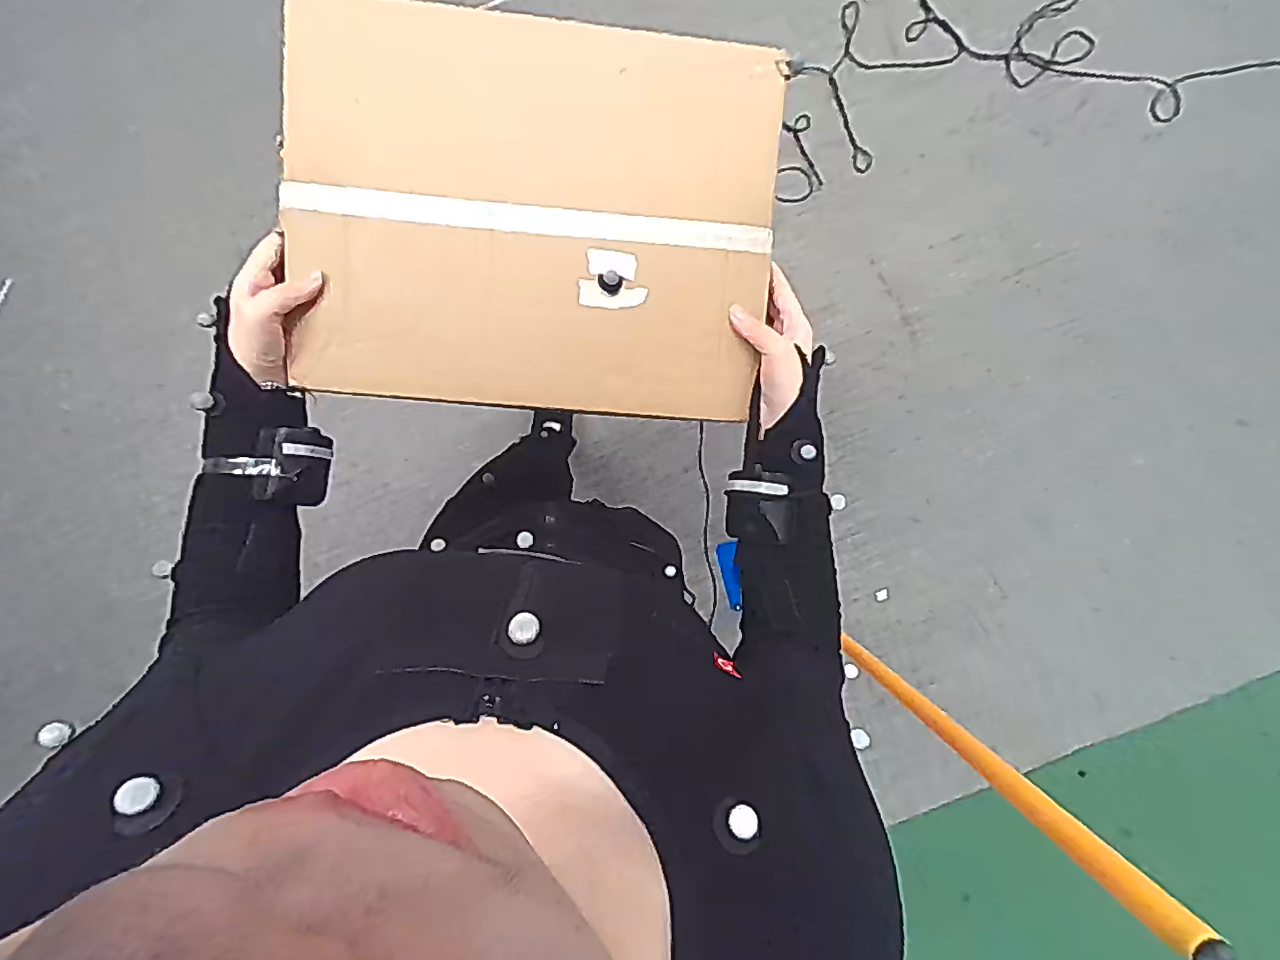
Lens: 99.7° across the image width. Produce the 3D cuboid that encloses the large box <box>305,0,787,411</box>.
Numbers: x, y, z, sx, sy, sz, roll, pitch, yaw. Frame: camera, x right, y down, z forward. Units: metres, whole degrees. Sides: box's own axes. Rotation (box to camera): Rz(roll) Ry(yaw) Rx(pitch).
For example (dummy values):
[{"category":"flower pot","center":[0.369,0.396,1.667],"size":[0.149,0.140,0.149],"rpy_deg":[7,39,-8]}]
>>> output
[{"category":"large box","center":[-0.094,-0.247,0.613],"size":[0.408,0.320,0.320],"rpy_deg":[4,97,-6]}]

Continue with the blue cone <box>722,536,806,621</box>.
[{"category":"blue cone","center":[0.334,0.267,1.344],"size":[0.193,0.380,0.192],"rpy_deg":[-14,93,-1]}]
